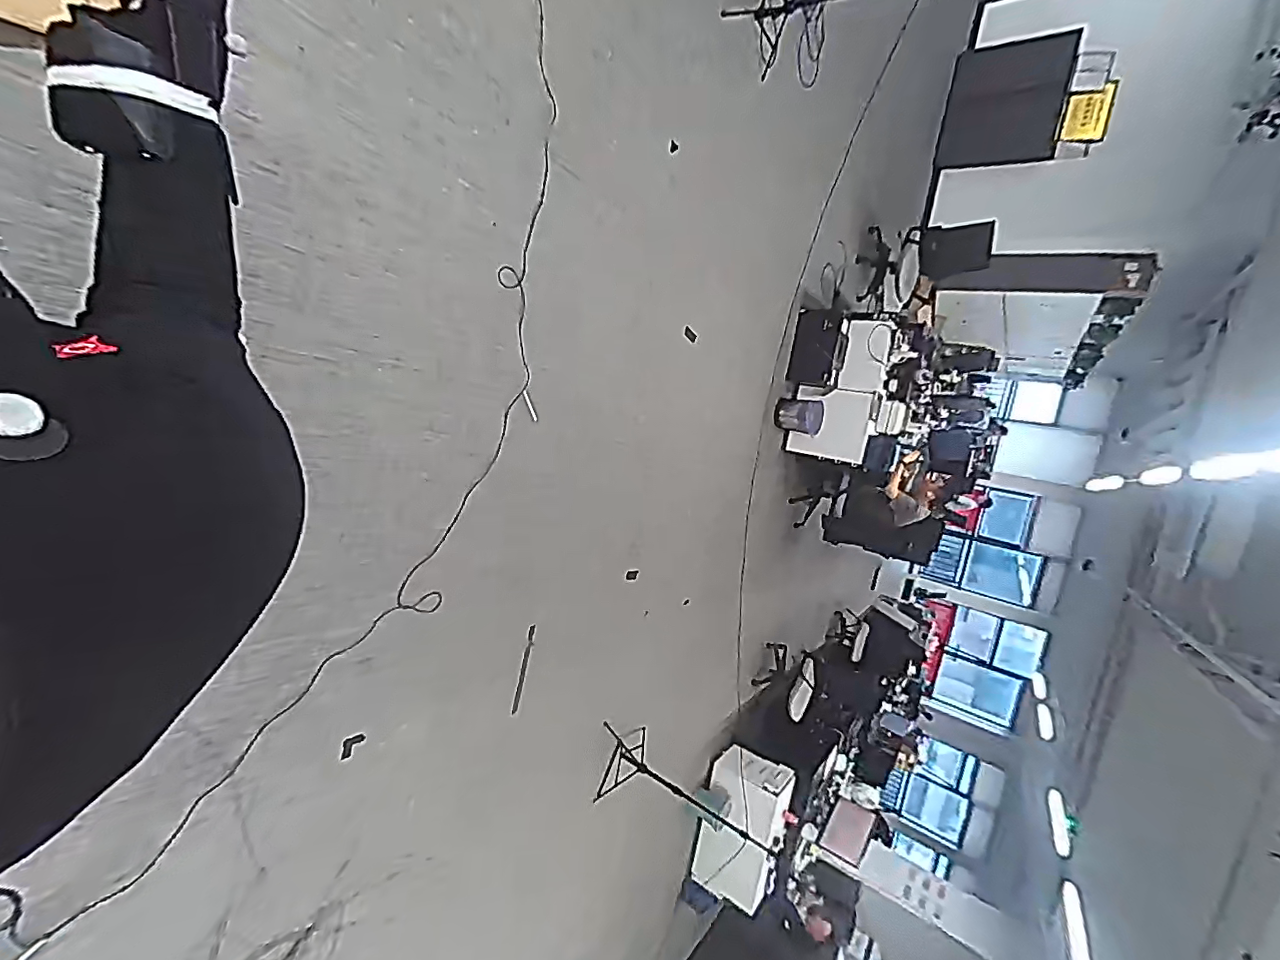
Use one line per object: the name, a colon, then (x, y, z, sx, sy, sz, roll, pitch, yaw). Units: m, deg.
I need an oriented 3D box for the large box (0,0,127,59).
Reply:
large box: (-0.533, -0.441, 0.214, 0.408, 0.320, 0.320, -16, 128, -55)
